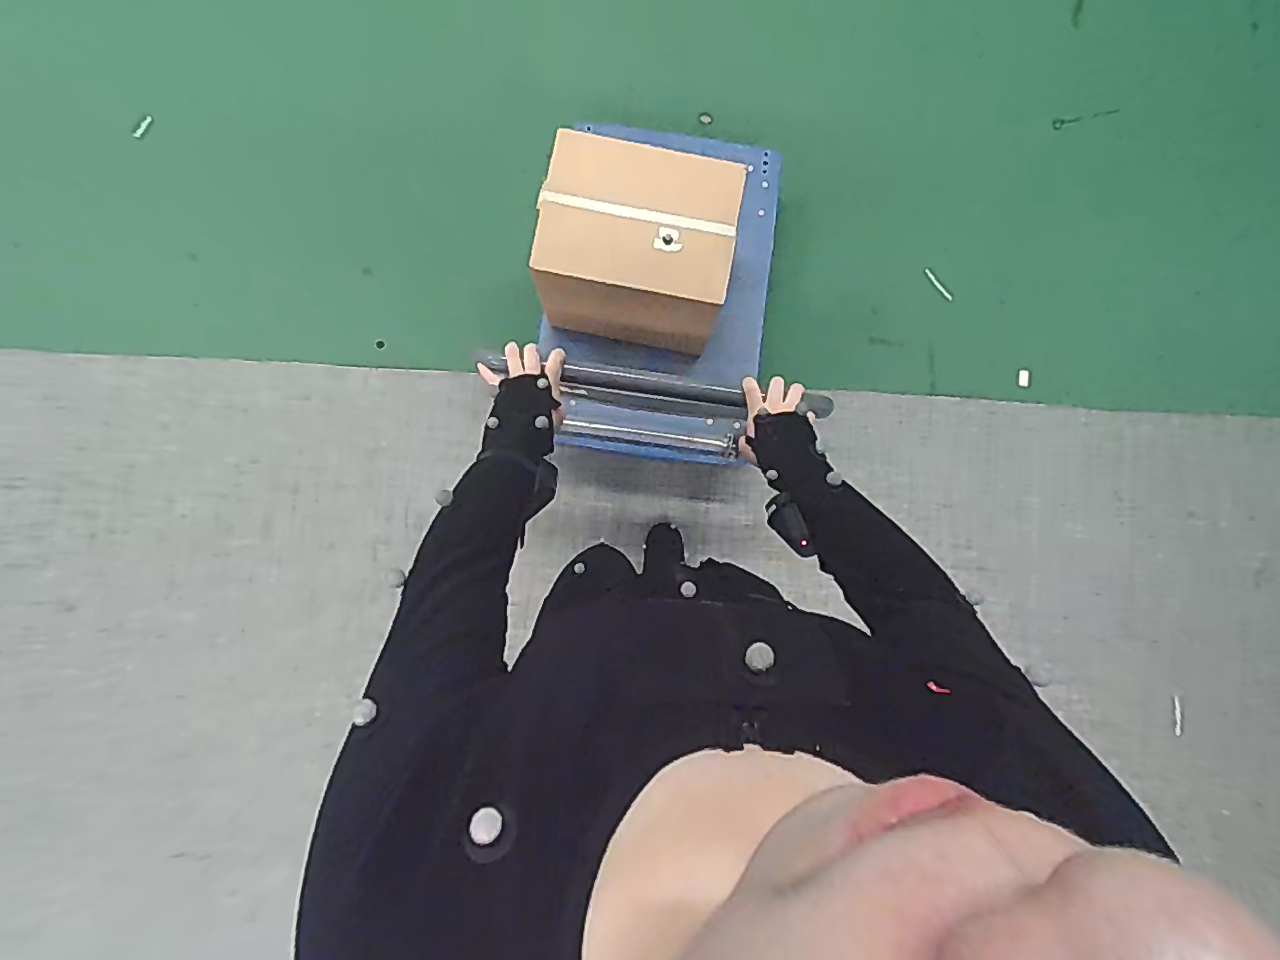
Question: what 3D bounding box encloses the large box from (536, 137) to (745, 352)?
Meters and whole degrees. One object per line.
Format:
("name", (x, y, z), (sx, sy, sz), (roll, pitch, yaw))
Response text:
("large box", (-0.004, -0.527, 1.273), (0.408, 0.320, 0.320), (10, 84, -2))
